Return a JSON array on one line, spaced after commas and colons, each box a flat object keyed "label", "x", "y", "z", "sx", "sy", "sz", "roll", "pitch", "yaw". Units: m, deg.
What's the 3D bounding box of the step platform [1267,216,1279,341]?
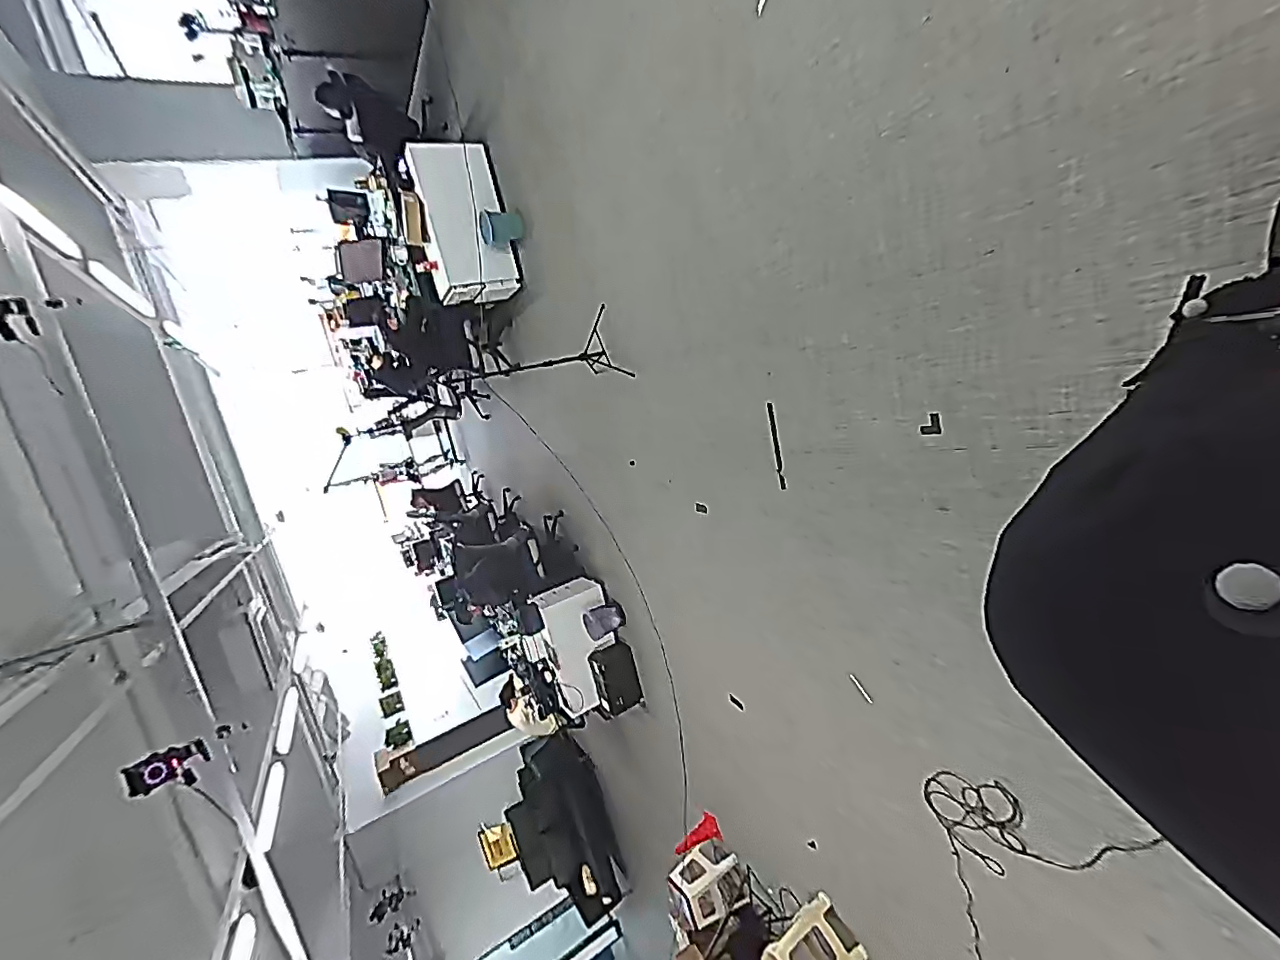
[{"label": "step platform", "x": 1.360, "y": -0.360, "z": 0.722, "sx": 0.684, "sy": 0.204, "sz": 0.286, "roll": 1, "pitch": 108, "yaw": 60}]
